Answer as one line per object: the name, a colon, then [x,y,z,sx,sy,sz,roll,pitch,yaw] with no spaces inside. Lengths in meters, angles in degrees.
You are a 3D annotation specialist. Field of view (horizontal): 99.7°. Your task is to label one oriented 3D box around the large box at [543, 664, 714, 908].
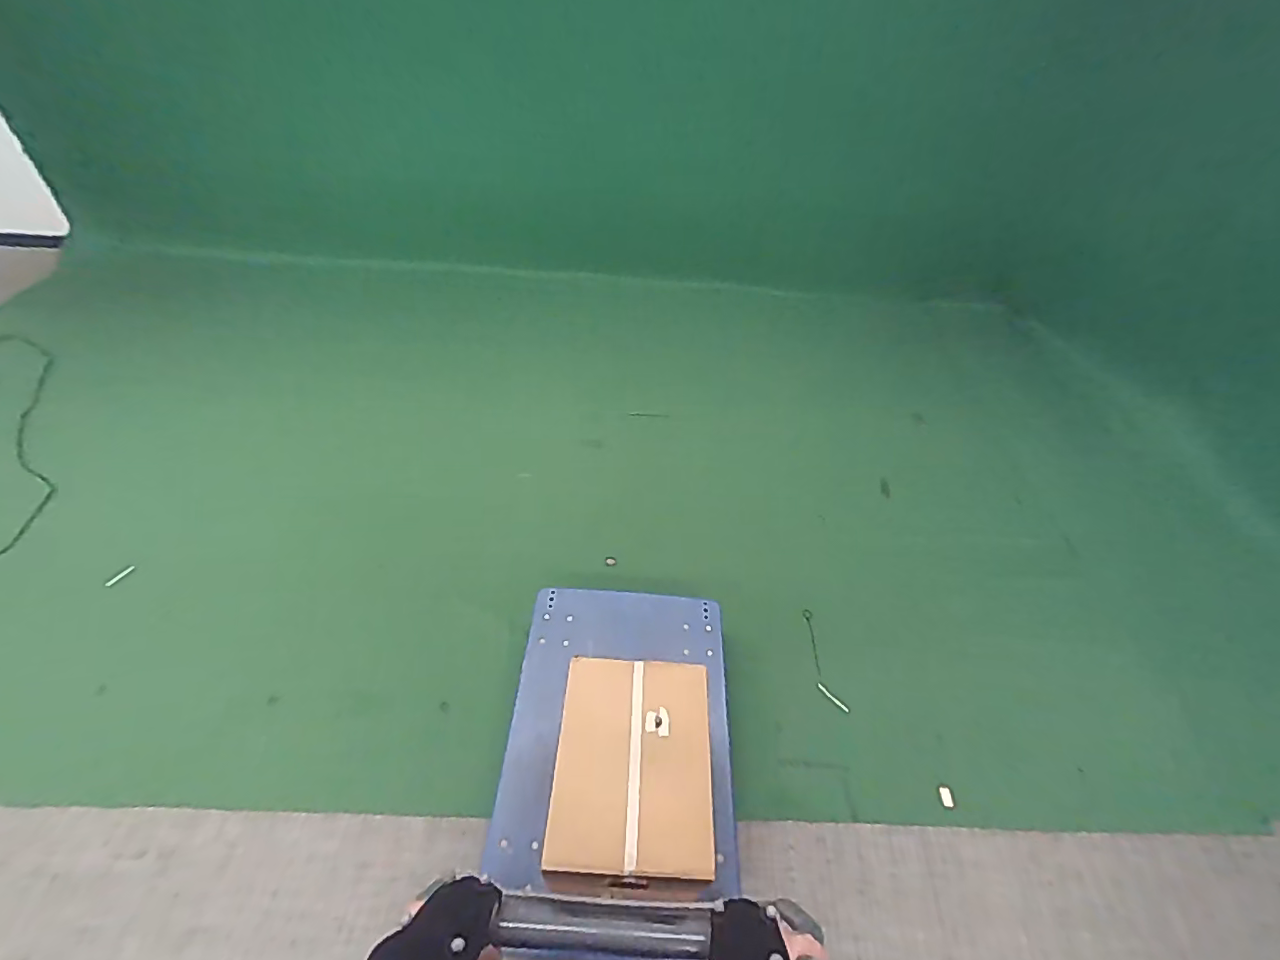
large box: [-0.025,0.673,1.198,0.320,0.320,0.408,4,44,-2]
